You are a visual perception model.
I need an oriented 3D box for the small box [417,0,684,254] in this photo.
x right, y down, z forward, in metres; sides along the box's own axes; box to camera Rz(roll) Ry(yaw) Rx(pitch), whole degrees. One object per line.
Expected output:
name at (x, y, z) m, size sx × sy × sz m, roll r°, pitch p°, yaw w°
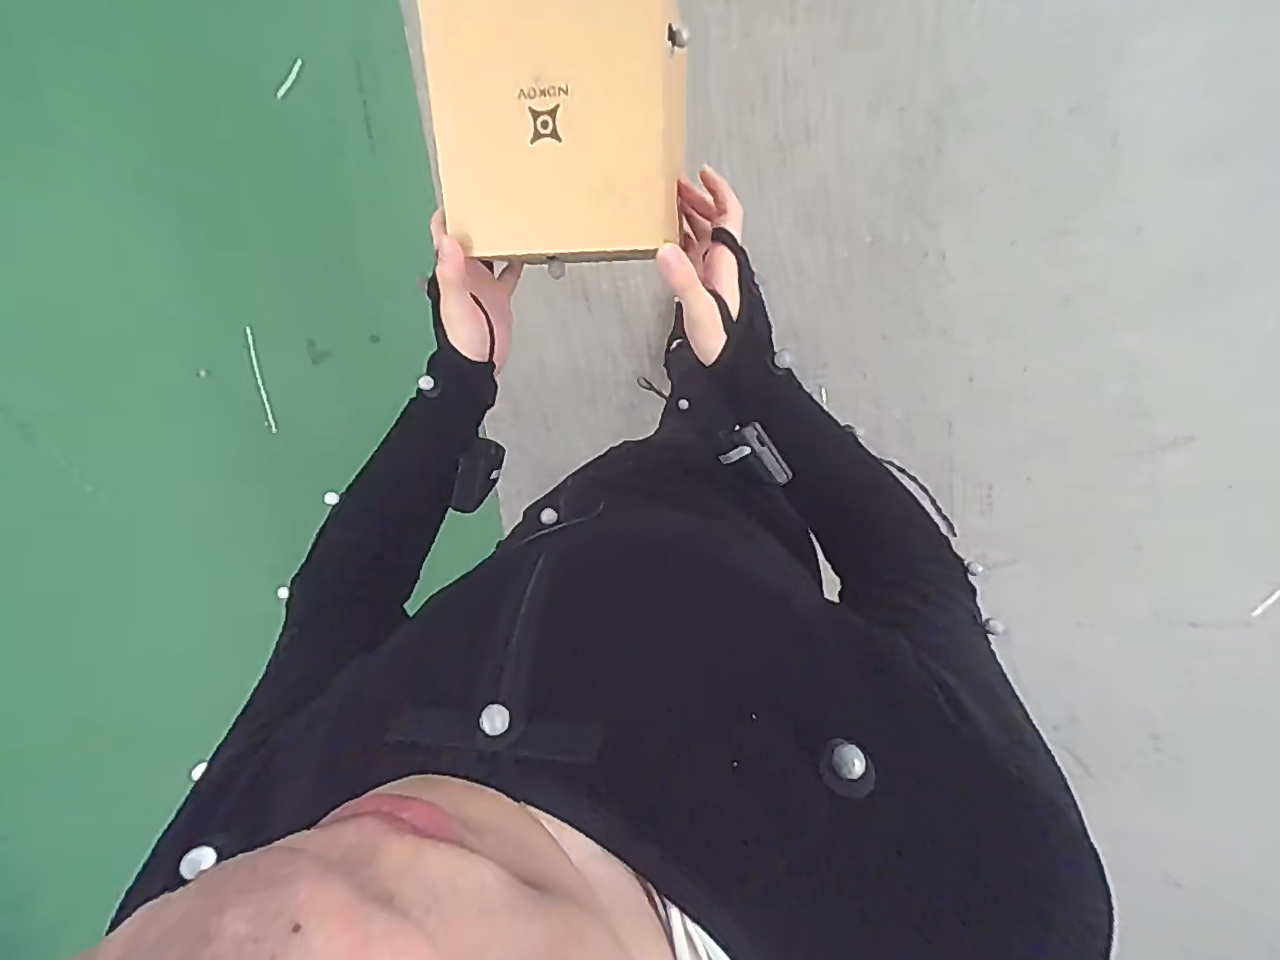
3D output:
small box at (-0.053, -0.282, 0.441) m, size 0.168 × 0.176 × 0.179 m, roll 2°, pitch 108°, yaw 9°
